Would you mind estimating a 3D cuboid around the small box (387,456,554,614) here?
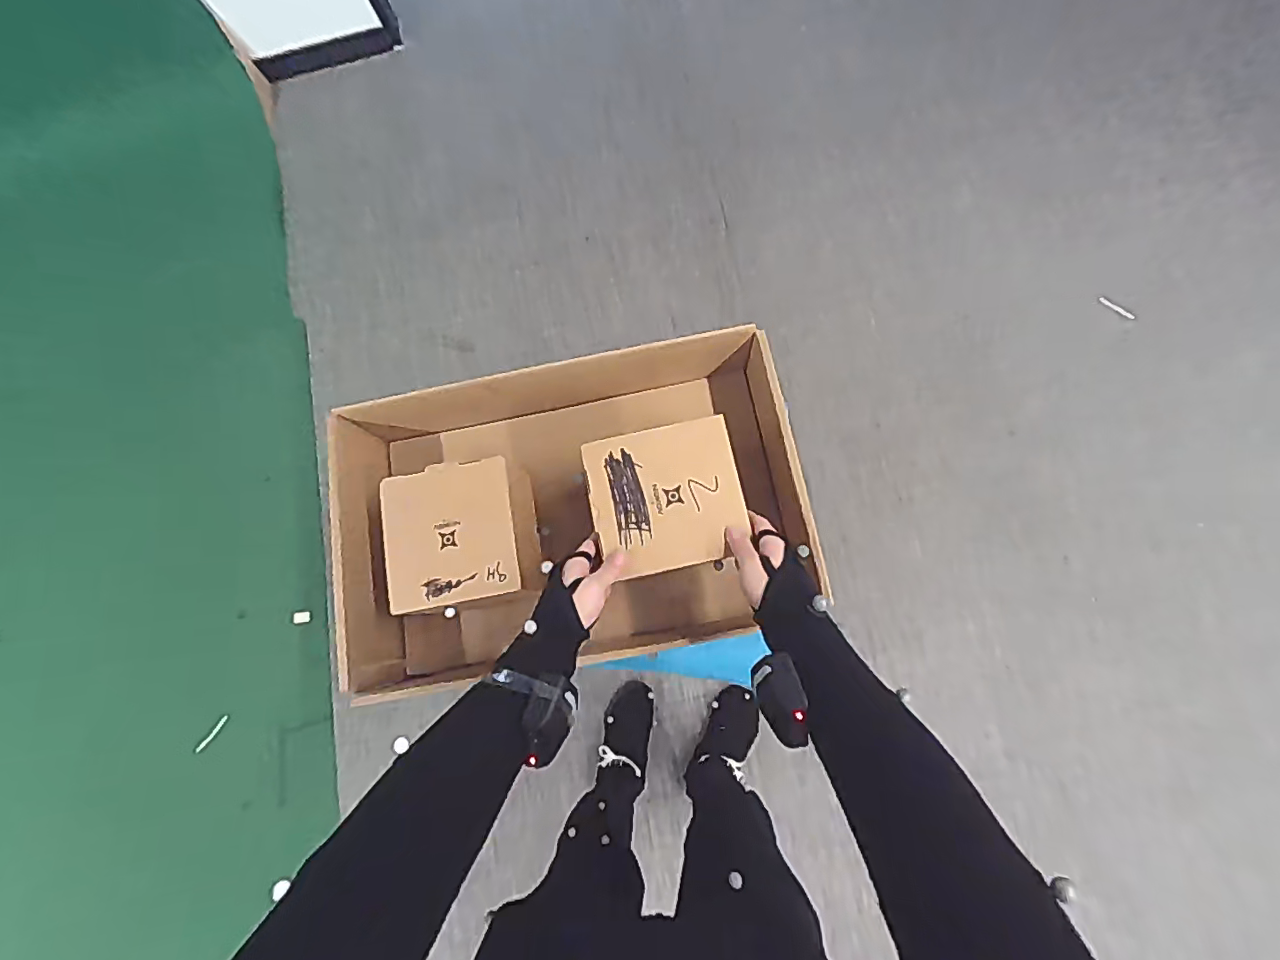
[{"bbox_3d":[-0.226,0.085,0.750,0.168,0.176,0.179,-12,75,4],"label":"small box"}]
